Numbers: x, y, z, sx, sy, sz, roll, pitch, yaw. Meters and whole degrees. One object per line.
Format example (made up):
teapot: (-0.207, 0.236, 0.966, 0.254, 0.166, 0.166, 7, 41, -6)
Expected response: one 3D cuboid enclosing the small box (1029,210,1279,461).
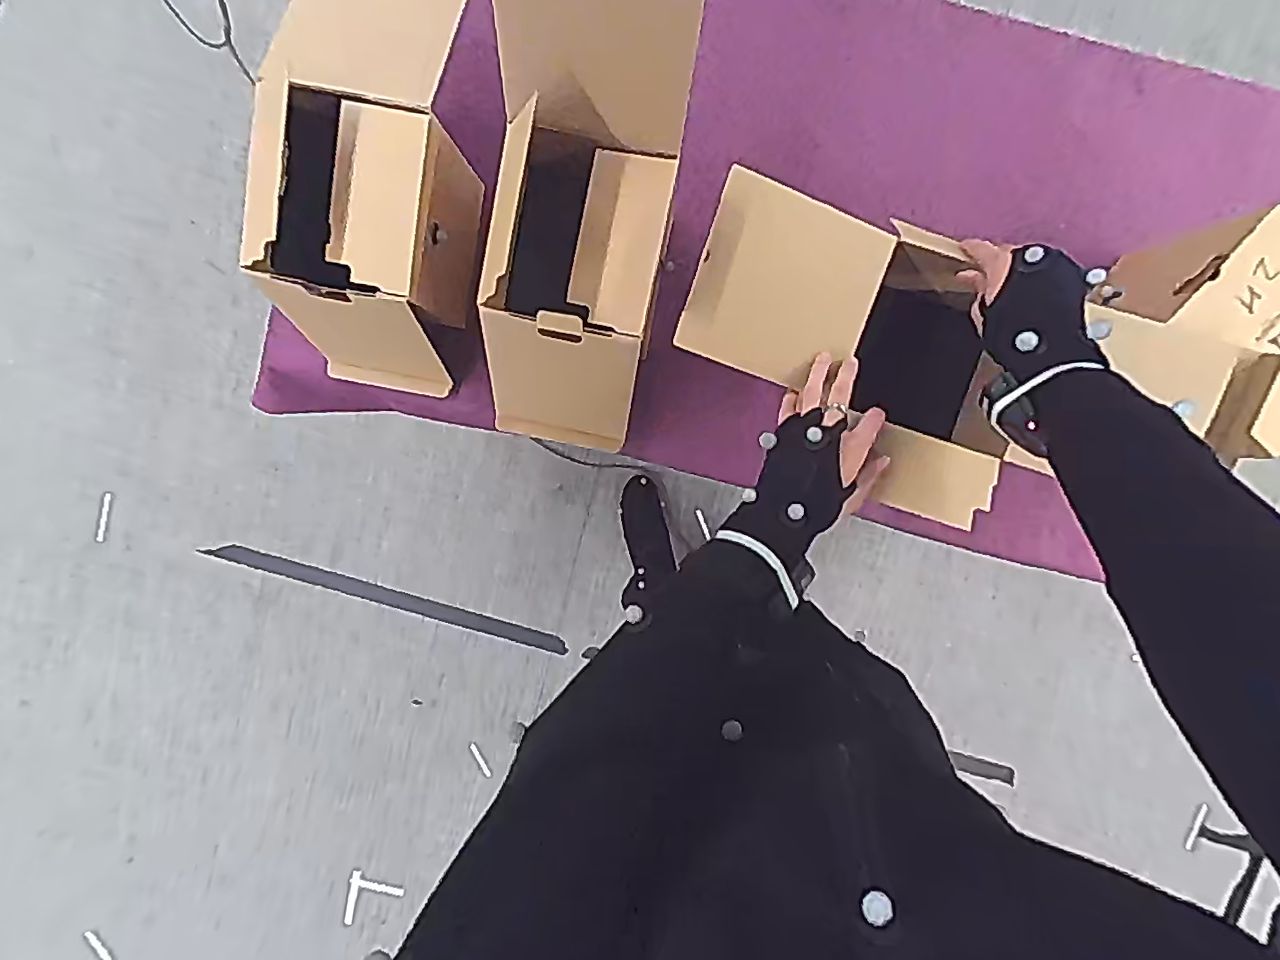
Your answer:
small box: (0.589, -0.143, 0.585, 0.179, 0.176, 0.168, 41, 95, -3)
